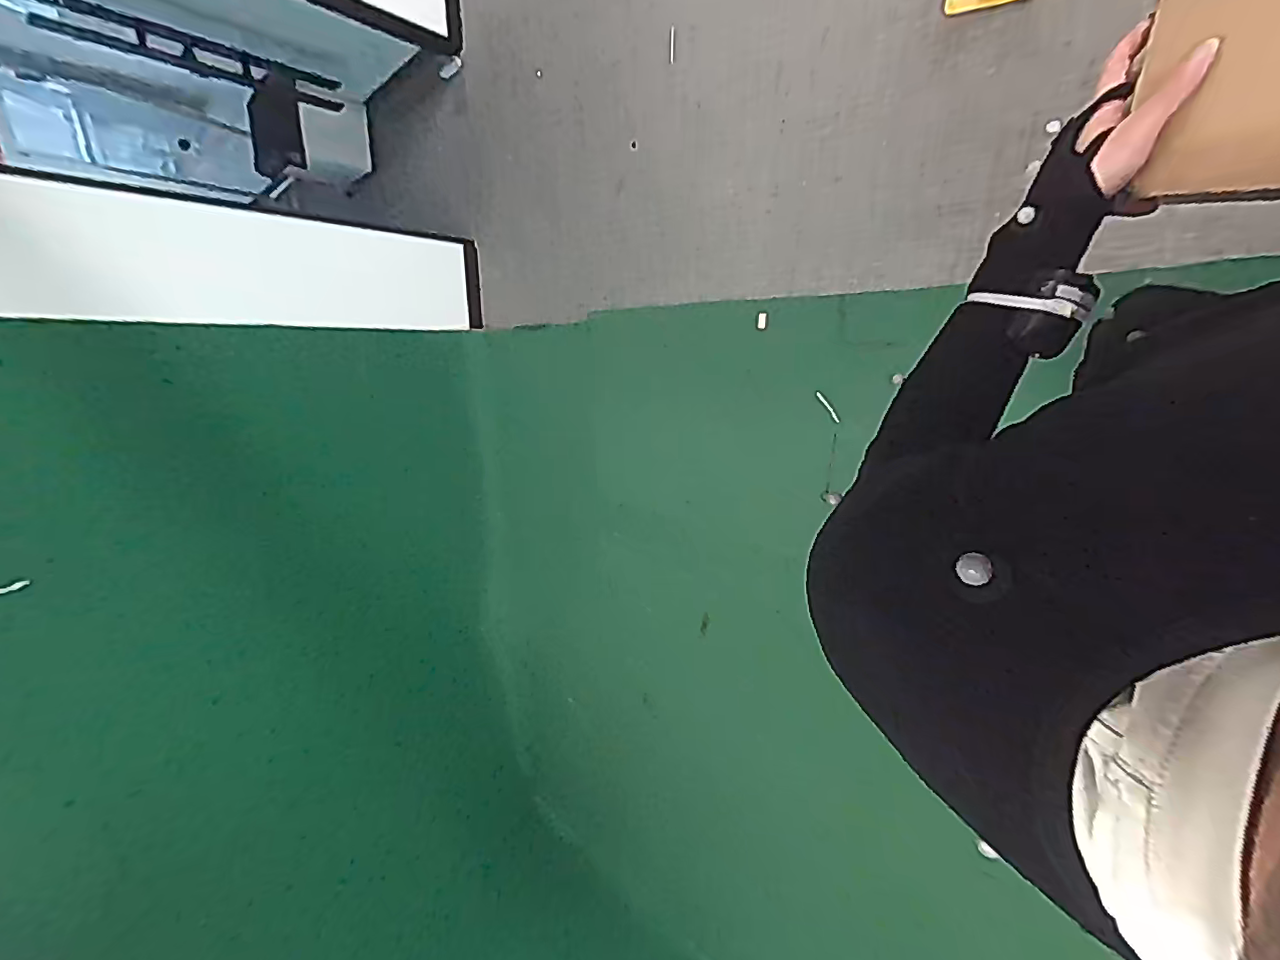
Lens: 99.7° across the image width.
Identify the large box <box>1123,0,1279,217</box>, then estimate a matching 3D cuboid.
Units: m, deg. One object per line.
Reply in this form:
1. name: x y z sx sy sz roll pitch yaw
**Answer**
1. large box: 0.646 -0.373 0.378 0.408 0.320 0.320 18 121 39
